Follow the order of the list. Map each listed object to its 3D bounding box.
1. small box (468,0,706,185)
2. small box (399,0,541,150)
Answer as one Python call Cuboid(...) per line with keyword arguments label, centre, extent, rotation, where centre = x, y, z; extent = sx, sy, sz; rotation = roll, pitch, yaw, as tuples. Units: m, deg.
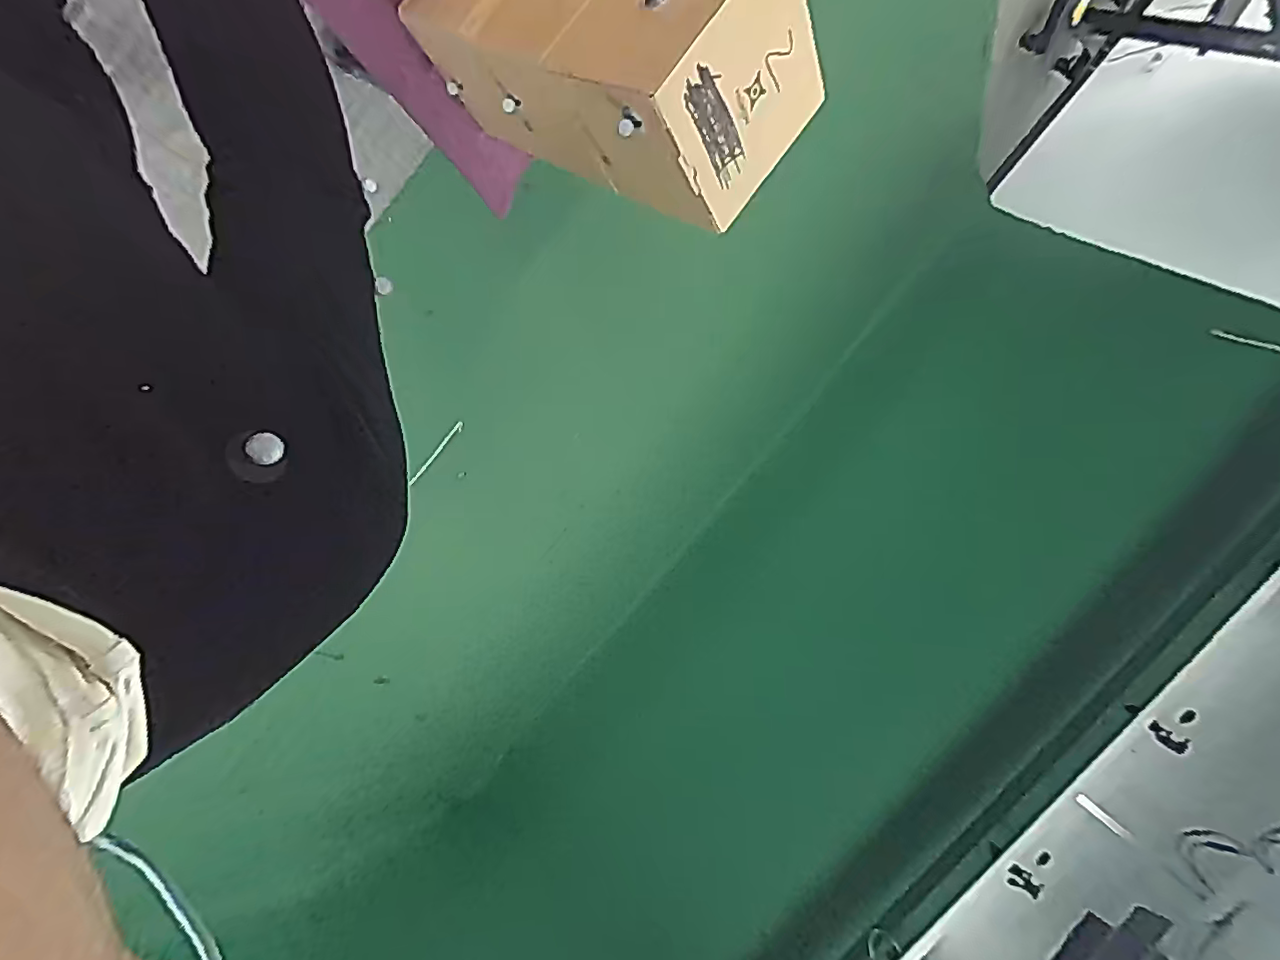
Cuboid(label="small box", centre=(-0.060, -0.489, 0.619), extent=(0.179, 0.176, 0.168), rotation=(-49, 149, 2))
Cuboid(label="small box", centre=(-0.168, -0.581, 0.700), extent=(0.168, 0.176, 0.179), rotation=(-49, 150, 1))
